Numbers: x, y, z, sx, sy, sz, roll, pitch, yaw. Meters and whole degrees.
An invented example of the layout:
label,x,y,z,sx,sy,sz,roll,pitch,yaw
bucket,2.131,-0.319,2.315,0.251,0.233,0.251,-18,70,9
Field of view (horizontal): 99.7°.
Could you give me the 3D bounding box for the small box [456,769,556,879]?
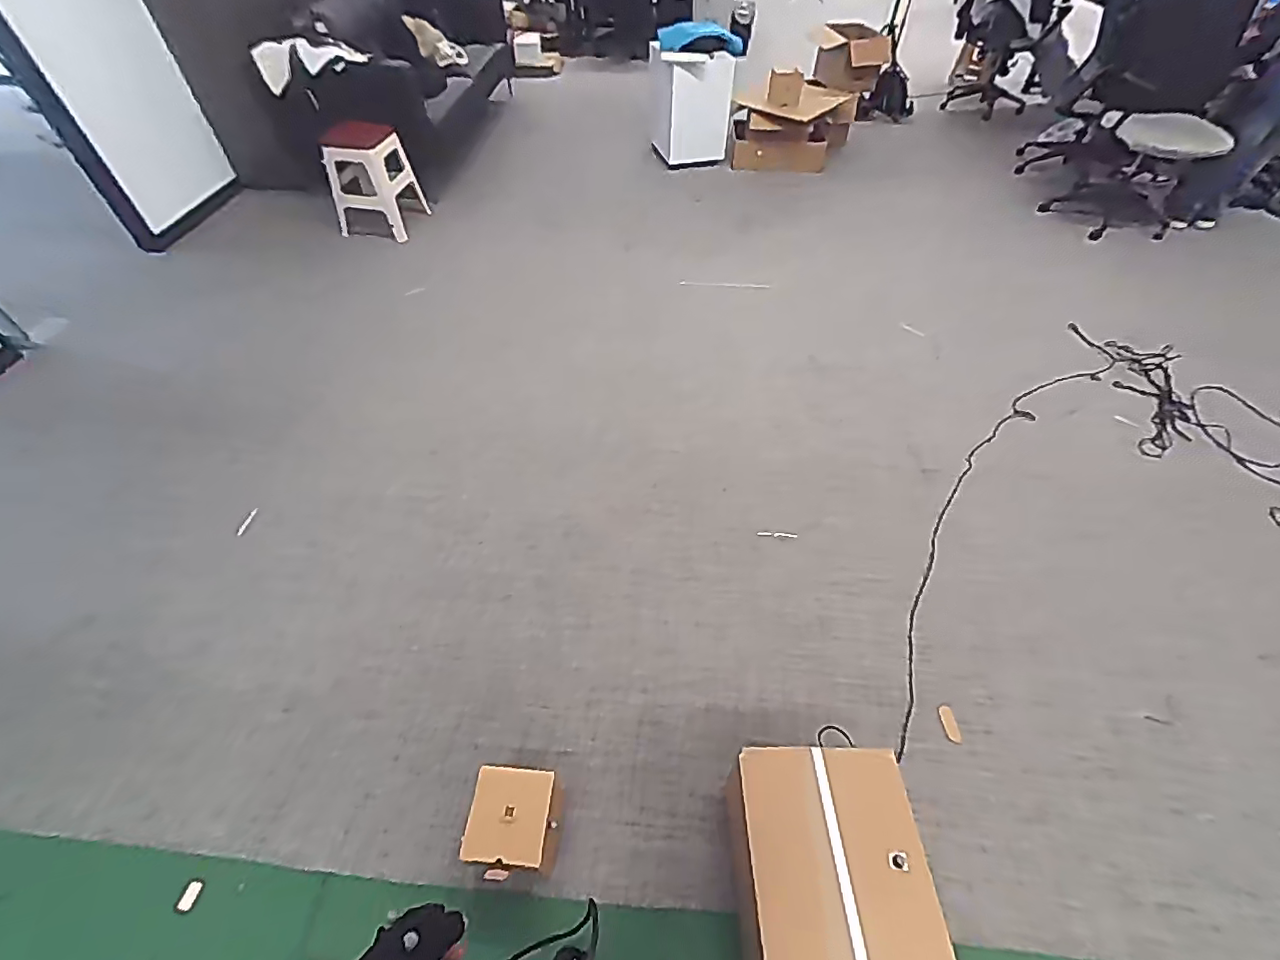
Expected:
label,x,y,z,sx,sy,sz,roll,pitch,yaw
small box,-0.282,0.757,1.188,0.168,0.176,0.179,3,50,2
